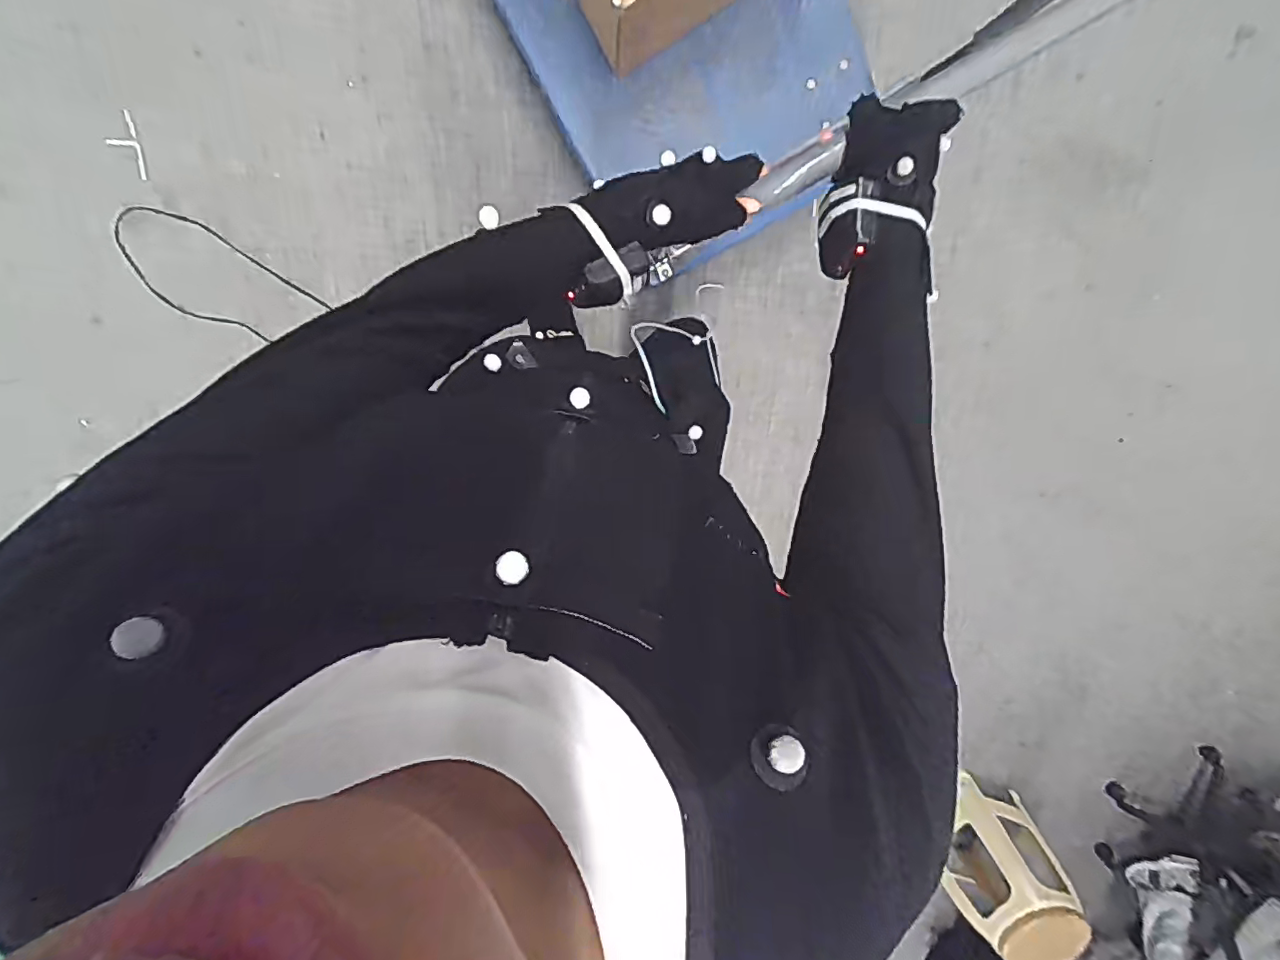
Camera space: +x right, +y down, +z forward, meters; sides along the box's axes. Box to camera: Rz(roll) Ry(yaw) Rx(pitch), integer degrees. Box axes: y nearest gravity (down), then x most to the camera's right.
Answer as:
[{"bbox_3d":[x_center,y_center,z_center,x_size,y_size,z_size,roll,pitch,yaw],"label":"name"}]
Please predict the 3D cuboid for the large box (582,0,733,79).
[{"bbox_3d":[0.067,-0.934,0.829,0.408,0.320,0.320,-31,109,9],"label":"large box"}]
